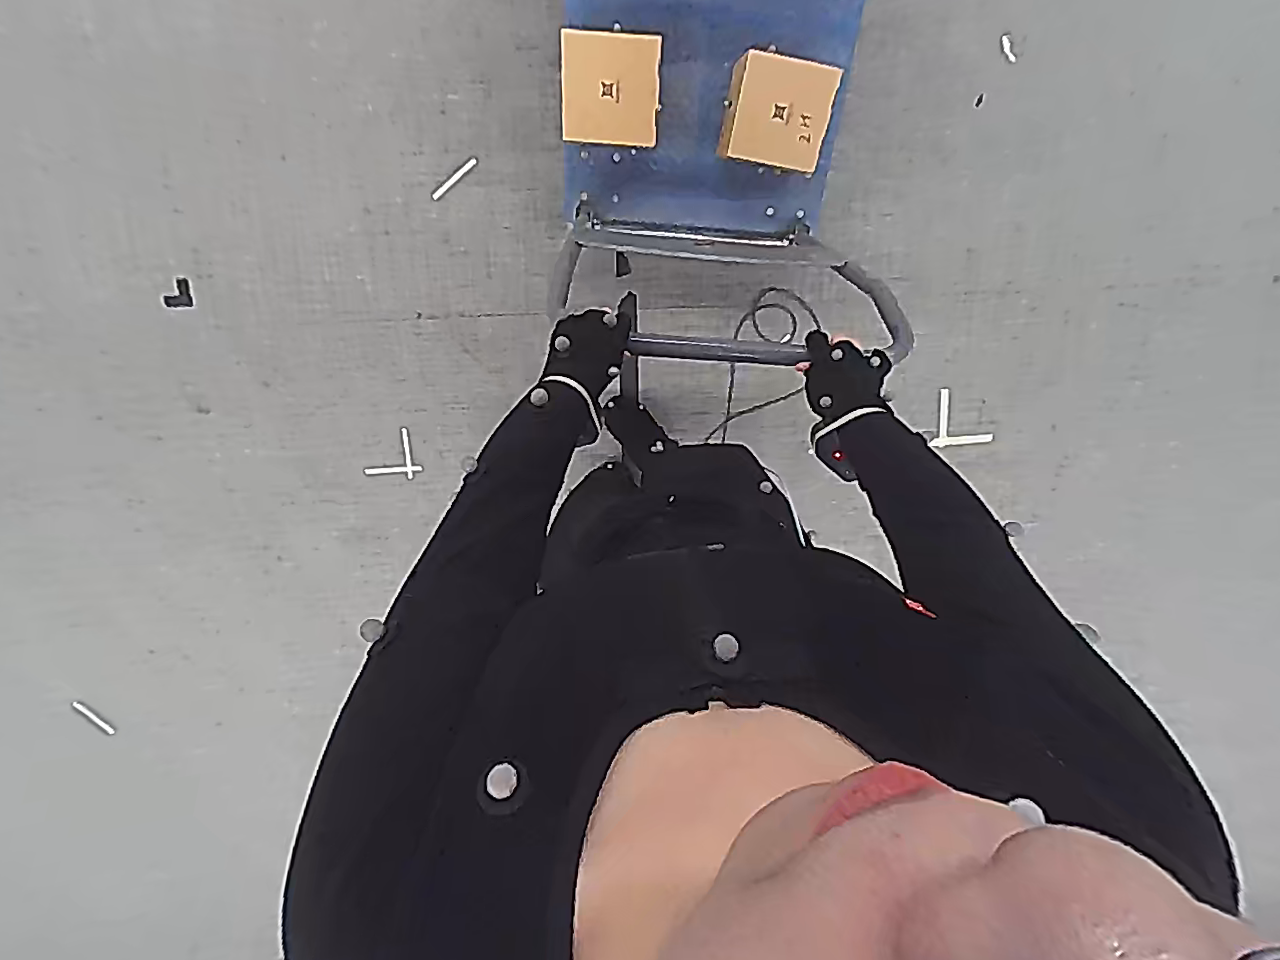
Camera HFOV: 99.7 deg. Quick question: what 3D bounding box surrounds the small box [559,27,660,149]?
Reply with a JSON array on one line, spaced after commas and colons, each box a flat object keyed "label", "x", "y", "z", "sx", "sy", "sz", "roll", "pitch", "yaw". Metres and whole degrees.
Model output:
[{"label": "small box", "x": -0.058, "y": -0.738, "z": 1.035, "sx": 0.179, "sy": 0.176, "sz": 0.168, "roll": 1, "pitch": 120, "yaw": -4}]

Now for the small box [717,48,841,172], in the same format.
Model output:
[{"label": "small box", "x": 0.258, "y": -0.711, "z": 1.057, "sx": 0.179, "sy": 0.176, "sz": 0.168, "roll": 8, "pitch": 120, "yaw": -5}]
